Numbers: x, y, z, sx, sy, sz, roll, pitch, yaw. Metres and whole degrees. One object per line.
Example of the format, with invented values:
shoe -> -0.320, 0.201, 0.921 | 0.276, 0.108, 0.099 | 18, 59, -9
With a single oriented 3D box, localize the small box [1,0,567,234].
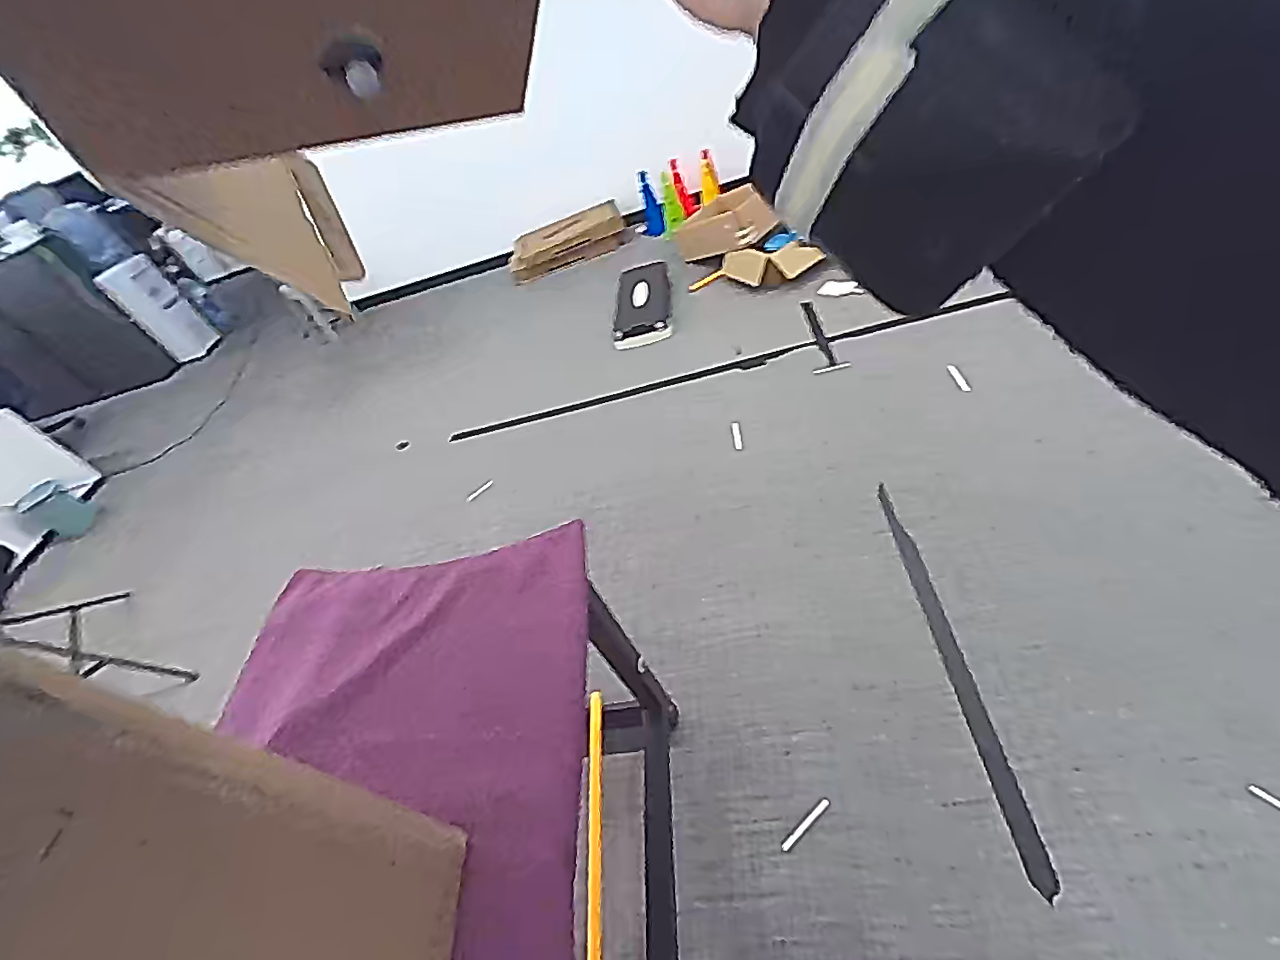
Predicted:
small box -> -0.128, -0.220, 0.178 | 0.179, 0.168, 0.176 | -25, -3, -22
